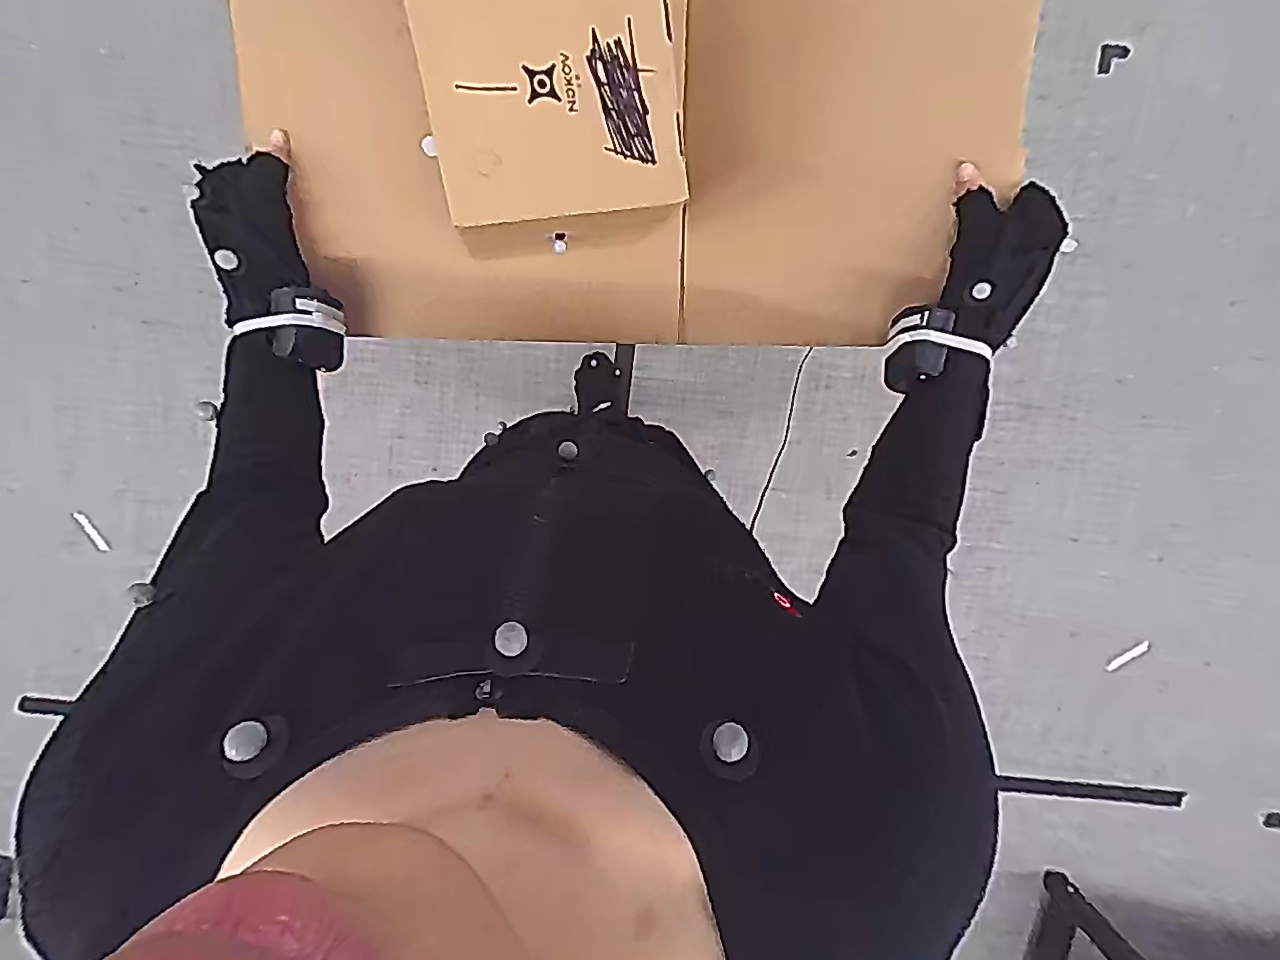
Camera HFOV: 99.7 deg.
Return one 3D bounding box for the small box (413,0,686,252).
[{"bbox_3d":[-0.075,-0.299,0.455,0.179,0.176,0.168,-11,105,-9],"label":"small box"}]
